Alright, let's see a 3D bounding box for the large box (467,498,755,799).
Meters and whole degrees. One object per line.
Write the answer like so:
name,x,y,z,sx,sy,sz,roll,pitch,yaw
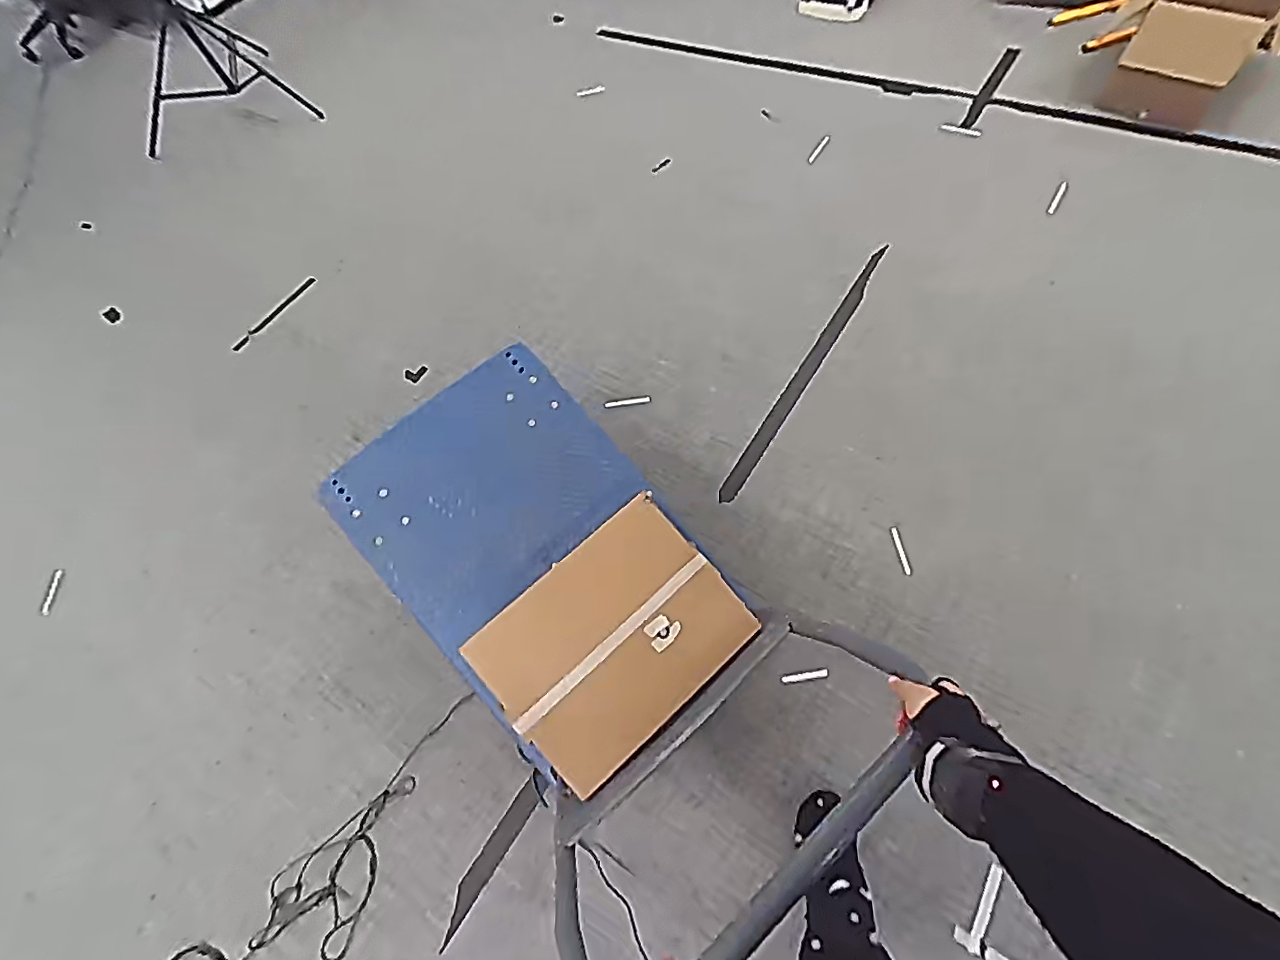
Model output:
large box,-0.058,0.301,1.054,0.408,0.320,0.320,-42,86,-13
